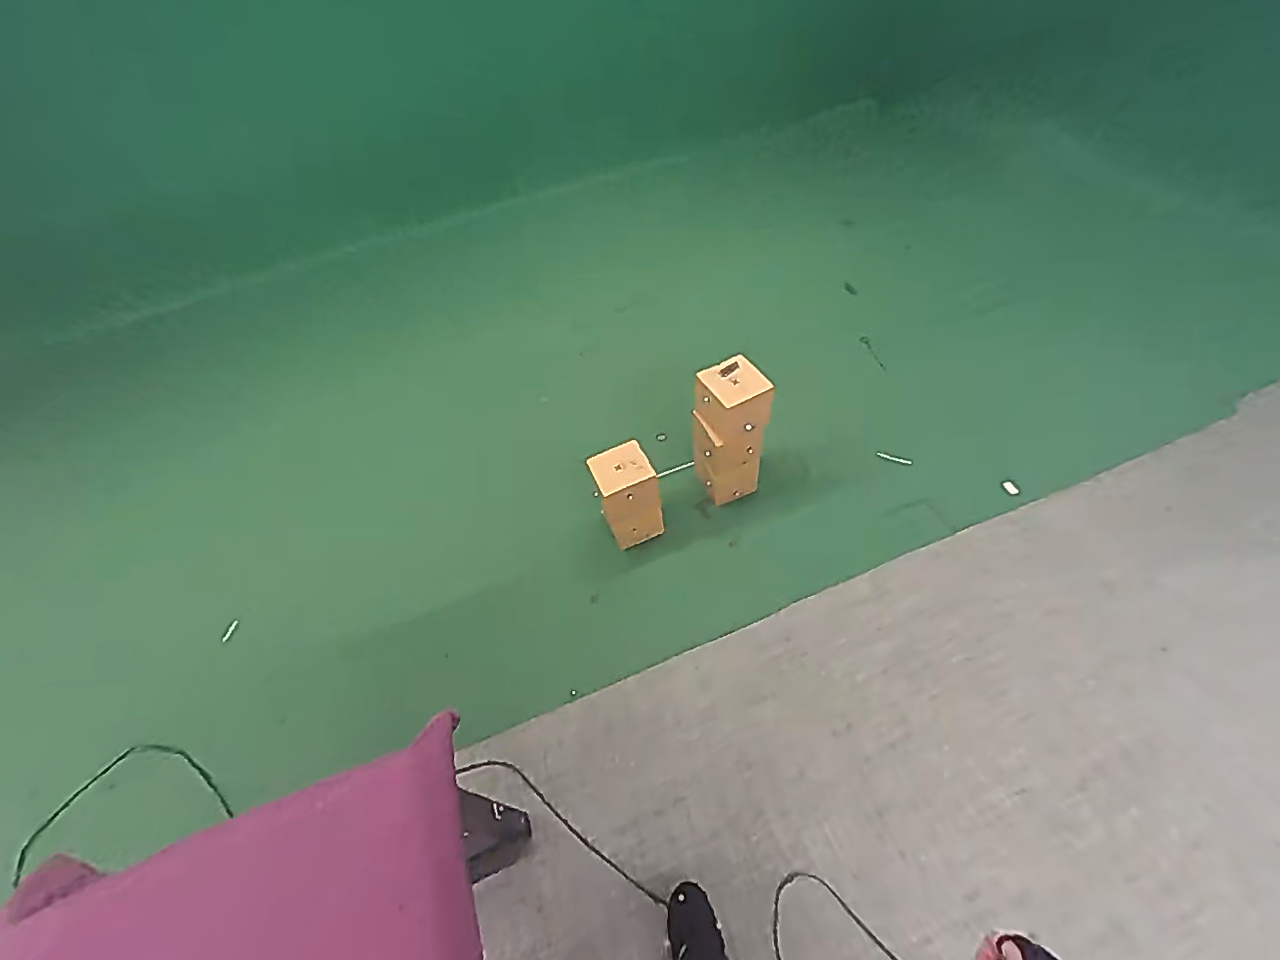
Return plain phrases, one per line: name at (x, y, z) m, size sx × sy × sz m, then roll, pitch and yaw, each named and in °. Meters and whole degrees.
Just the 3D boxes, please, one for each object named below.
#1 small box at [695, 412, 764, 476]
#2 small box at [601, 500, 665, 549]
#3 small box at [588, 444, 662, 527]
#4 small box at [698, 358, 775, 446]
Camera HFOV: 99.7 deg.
small box at (0.293, -0.135, 1.793) m, size 0.168 × 0.176 × 0.179 m, roll -21°, pitch 53°, yaw -10°
small box at (-0.023, 0.117, 1.856) m, size 0.168 × 0.176 × 0.179 m, roll -23°, pitch 52°, yaw -8°
small box at (-0.044, 0.021, 1.723) m, size 0.179 × 0.176 × 0.168 m, roll -22°, pitch 53°, yaw -9°
small box at (0.290, -0.238, 1.666) m, size 0.168 × 0.176 × 0.179 m, roll -26°, pitch 56°, yaw -13°
